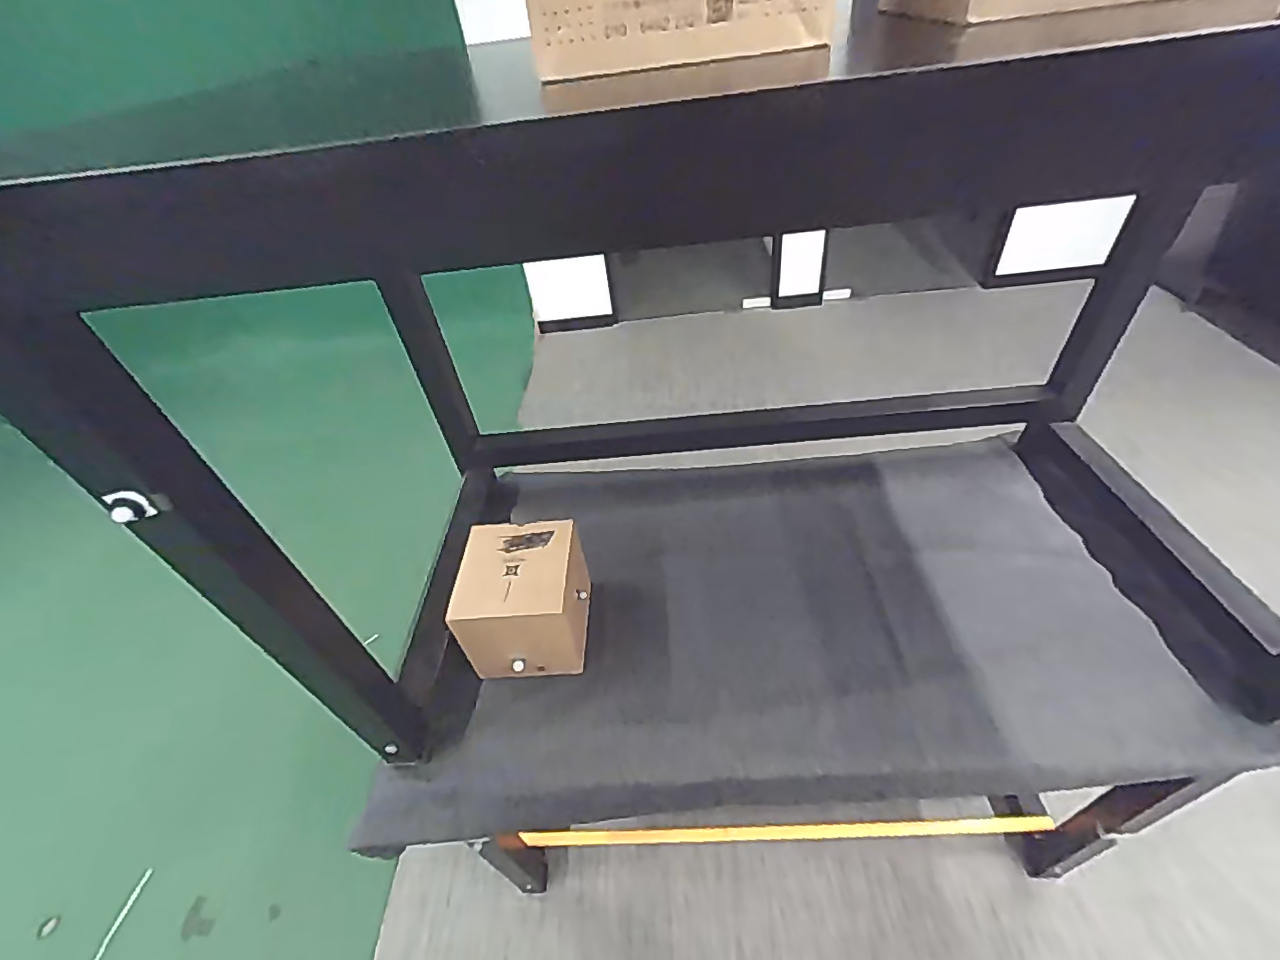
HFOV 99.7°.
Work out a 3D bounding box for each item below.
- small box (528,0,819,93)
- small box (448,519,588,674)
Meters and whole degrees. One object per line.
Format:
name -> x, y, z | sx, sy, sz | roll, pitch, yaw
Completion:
small box -> 0.015, -0.349, 0.325 | 0.168, 0.176, 0.179 | -4, 42, 4
small box -> -0.179, 0.184, 0.855 | 0.168, 0.176, 0.179 | -4, 43, 4
